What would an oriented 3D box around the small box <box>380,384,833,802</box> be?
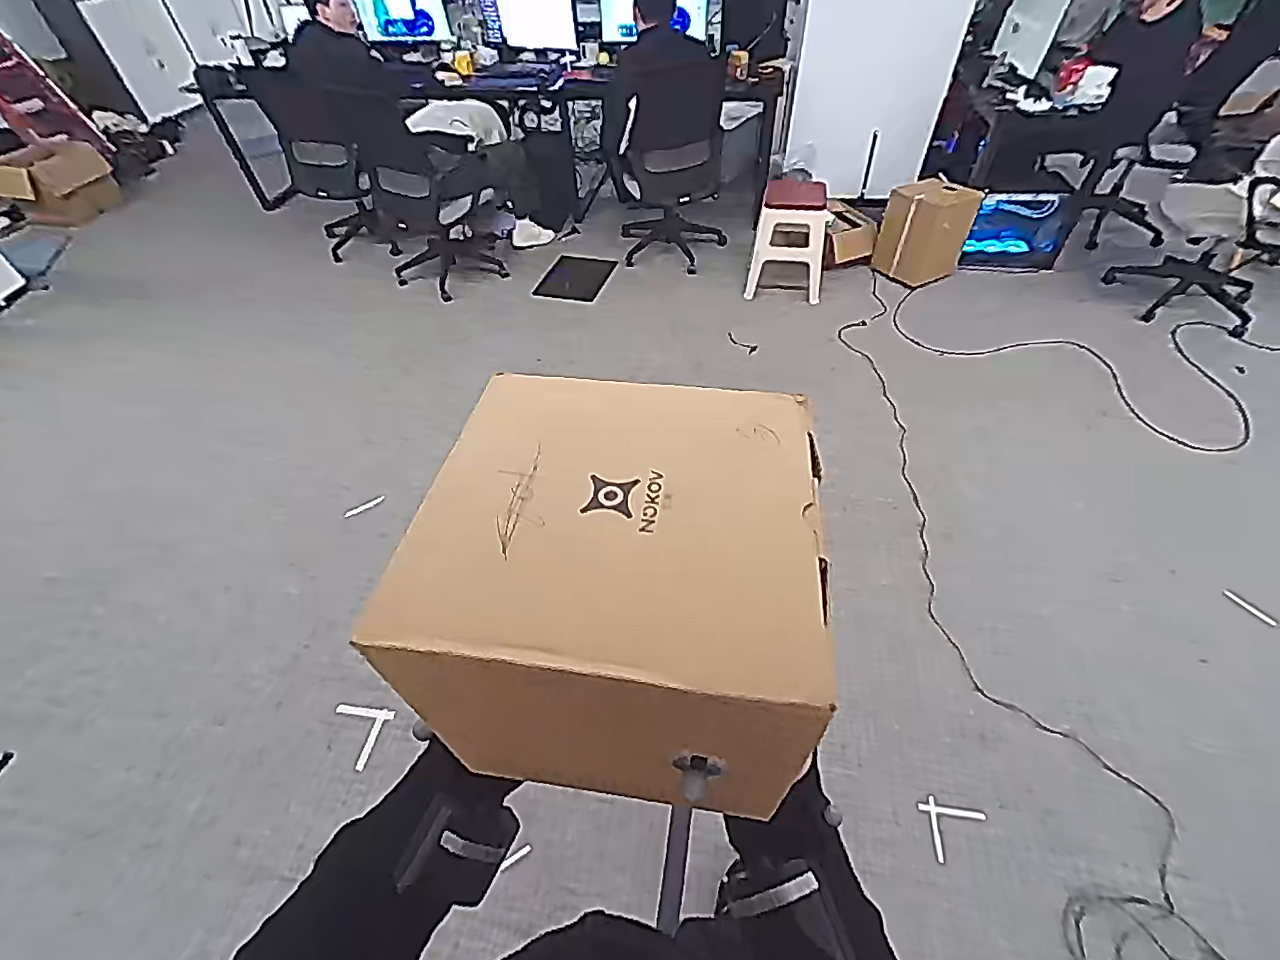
[{"bbox_3d":[-0.002,0.066,0.311,0.179,0.176,0.168,4,46,8],"label":"small box"}]
